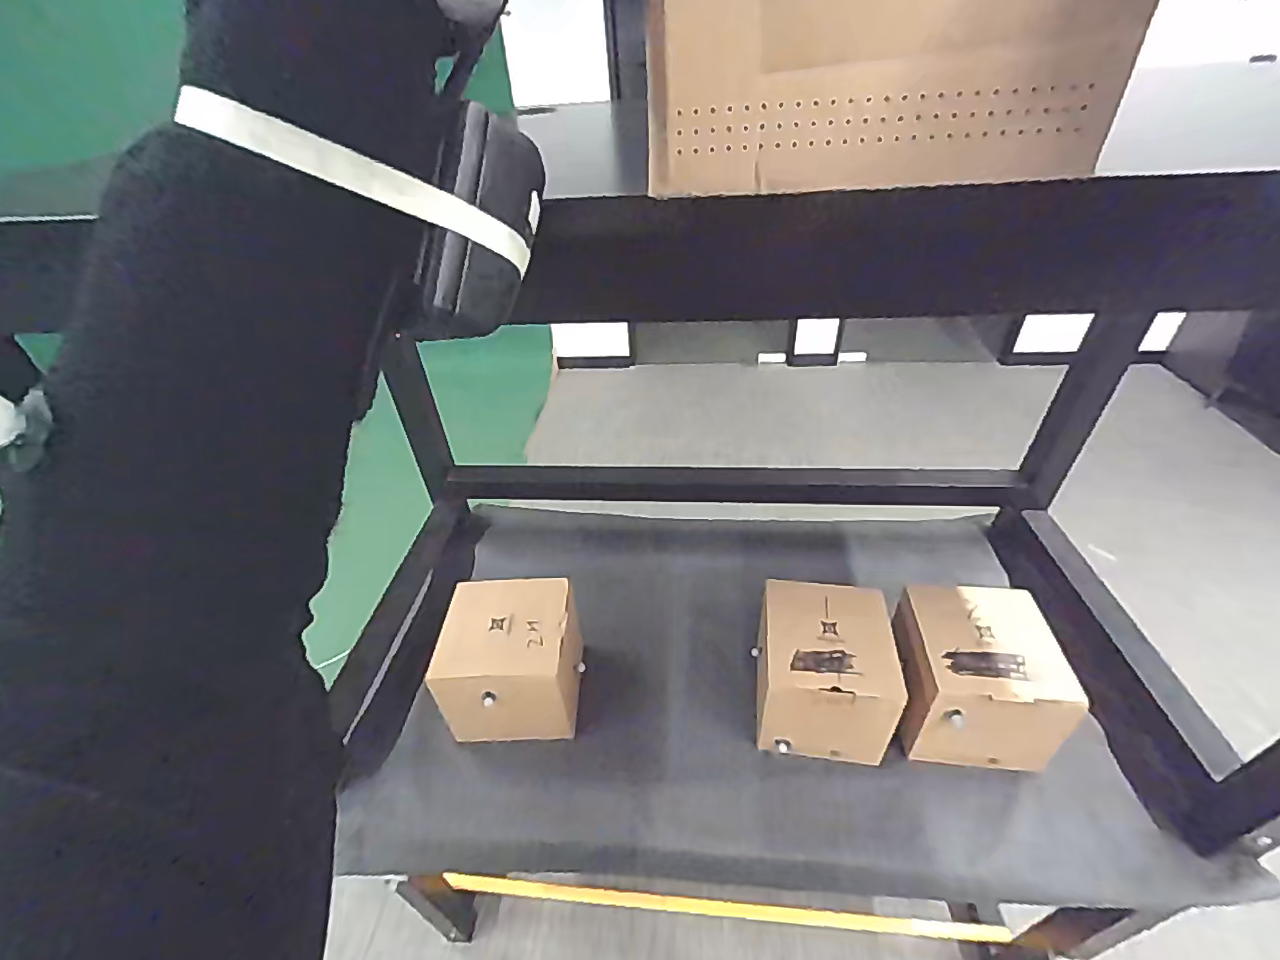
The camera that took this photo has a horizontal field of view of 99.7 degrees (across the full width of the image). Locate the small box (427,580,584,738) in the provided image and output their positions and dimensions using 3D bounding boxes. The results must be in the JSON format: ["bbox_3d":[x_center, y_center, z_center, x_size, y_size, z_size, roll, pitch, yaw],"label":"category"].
[{"bbox_3d":[-0.188,0.270,0.812,0.179,0.176,0.168,-2,38,2],"label":"small box"}]
